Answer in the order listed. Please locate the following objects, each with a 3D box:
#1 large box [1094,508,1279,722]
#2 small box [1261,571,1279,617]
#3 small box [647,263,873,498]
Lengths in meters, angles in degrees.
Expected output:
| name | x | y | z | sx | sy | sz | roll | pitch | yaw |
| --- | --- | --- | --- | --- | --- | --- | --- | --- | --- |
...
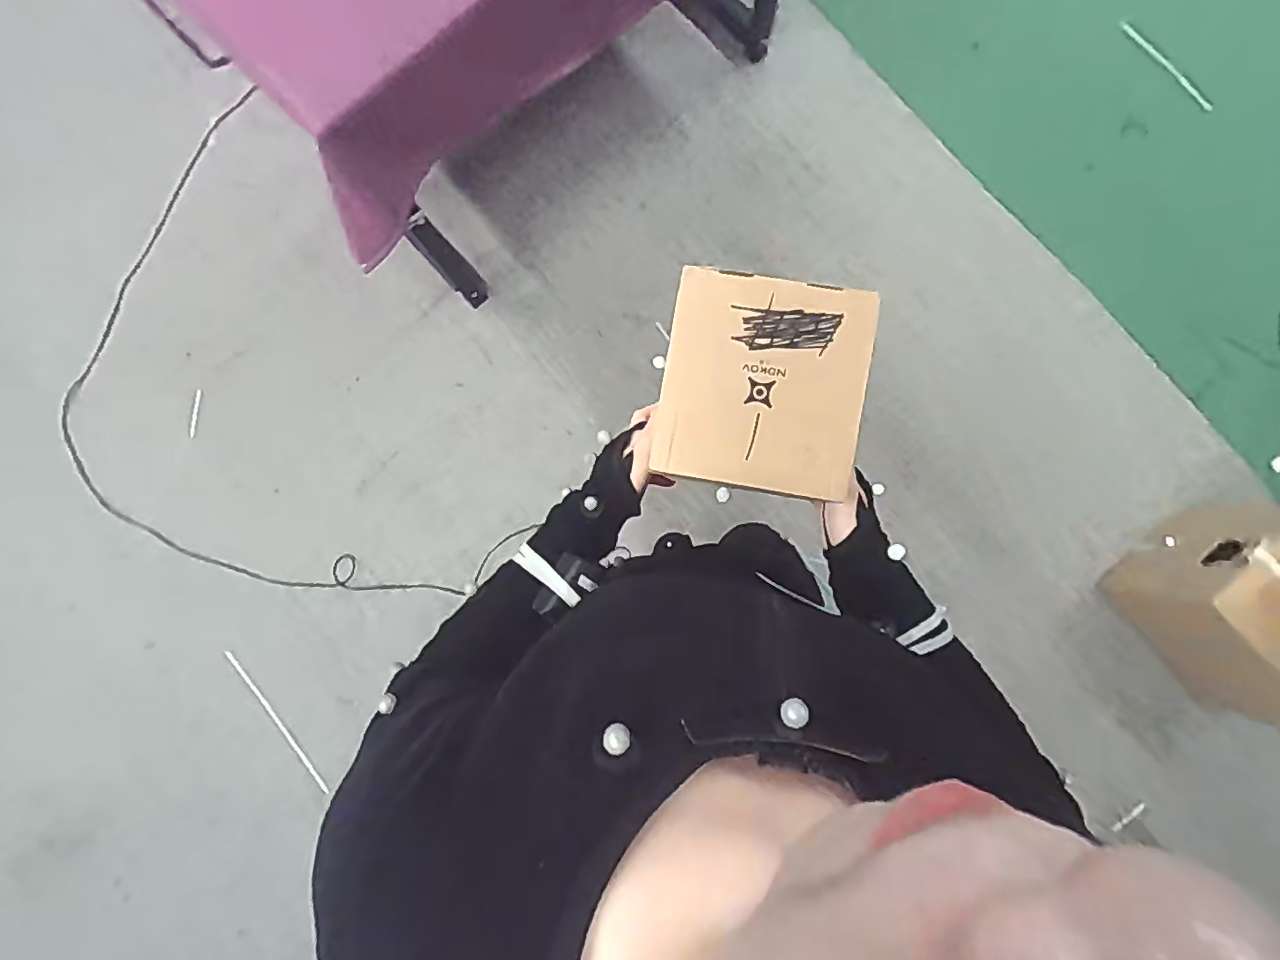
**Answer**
| name | x | y | z | sx | sy | sz | roll | pitch | yaw |
| --- | --- | --- | --- | --- | --- | --- | --- | --- | --- |
| large box | 1.457 | 0.316 | 1.303 | 0.320 | 0.320 | 0.408 | -40 | 86 | -2 |
| small box | 1.424 | 0.252 | 1.065 | 0.168 | 0.176 | 0.179 | -29 | 85 | -2 |
| small box | 0.103 | -0.083 | 0.527 | 0.168 | 0.176 | 0.179 | 9 | 91 | 4 |
